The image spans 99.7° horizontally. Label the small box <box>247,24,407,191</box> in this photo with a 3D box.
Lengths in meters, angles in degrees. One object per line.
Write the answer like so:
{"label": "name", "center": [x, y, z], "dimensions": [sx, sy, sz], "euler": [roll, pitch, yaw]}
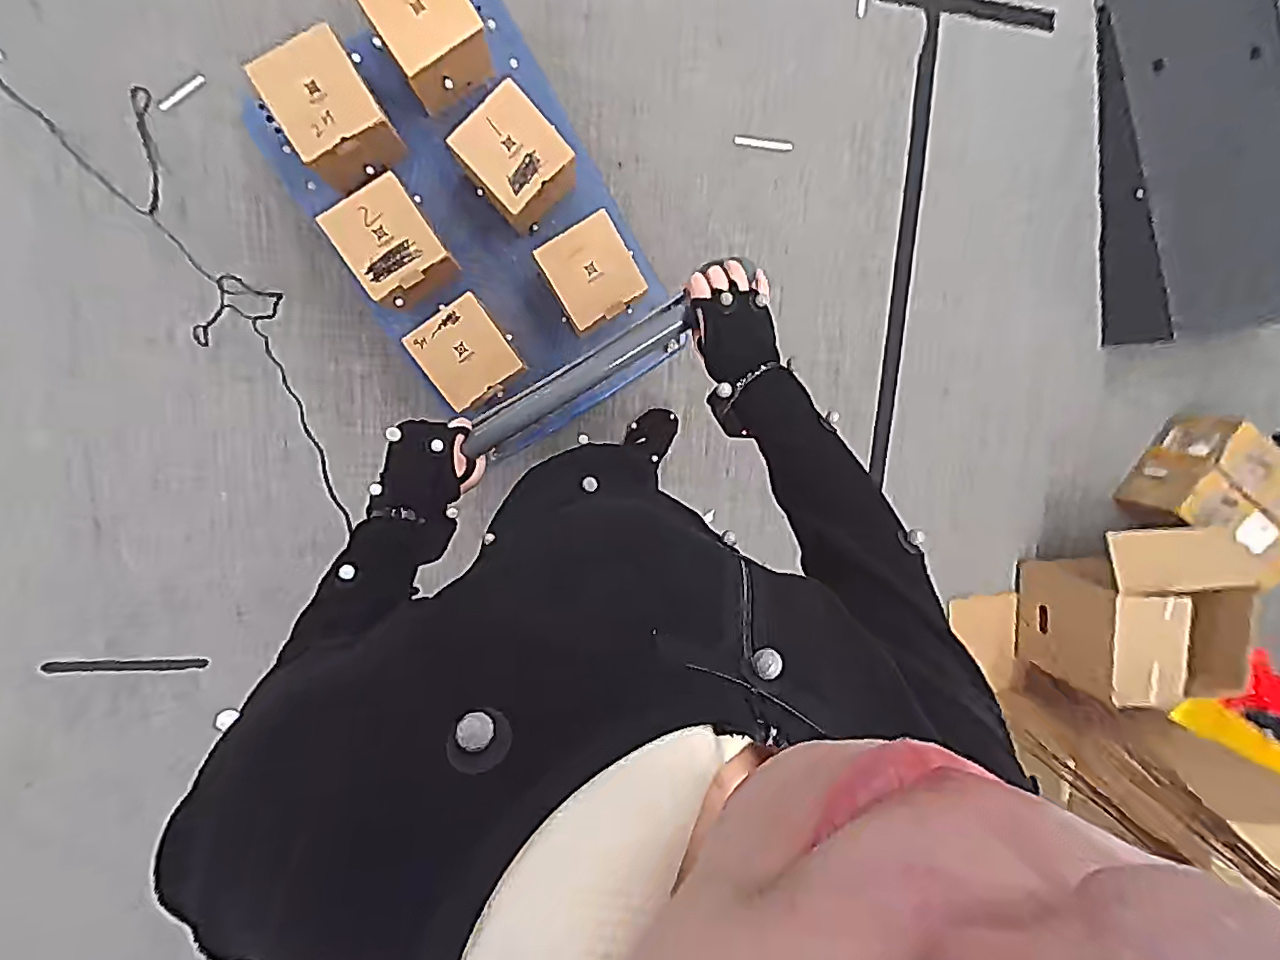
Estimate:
{"label": "small box", "center": [-0.579, -0.693, 1.028], "dimensions": [0.168, 0.176, 0.179], "euler": [-30, 103, -1]}

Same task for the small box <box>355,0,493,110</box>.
{"label": "small box", "center": [-0.402, -0.847, 1.026], "dimensions": [0.168, 0.176, 0.179], "euler": [-35, 102, 0]}

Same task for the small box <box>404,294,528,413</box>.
{"label": "small box", "center": [-0.351, -0.262, 1.134], "dimensions": [0.168, 0.176, 0.179], "euler": [-36, 103, -1]}

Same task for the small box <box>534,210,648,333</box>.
{"label": "small box", "center": [-0.102, -0.424, 1.139], "dimensions": [0.168, 0.176, 0.179], "euler": [-32, 101, -1]}

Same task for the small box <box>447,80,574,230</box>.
{"label": "small box", "center": [-0.247, -0.631, 1.083], "dimensions": [0.168, 0.176, 0.179], "euler": [-44, 101, 2]}
